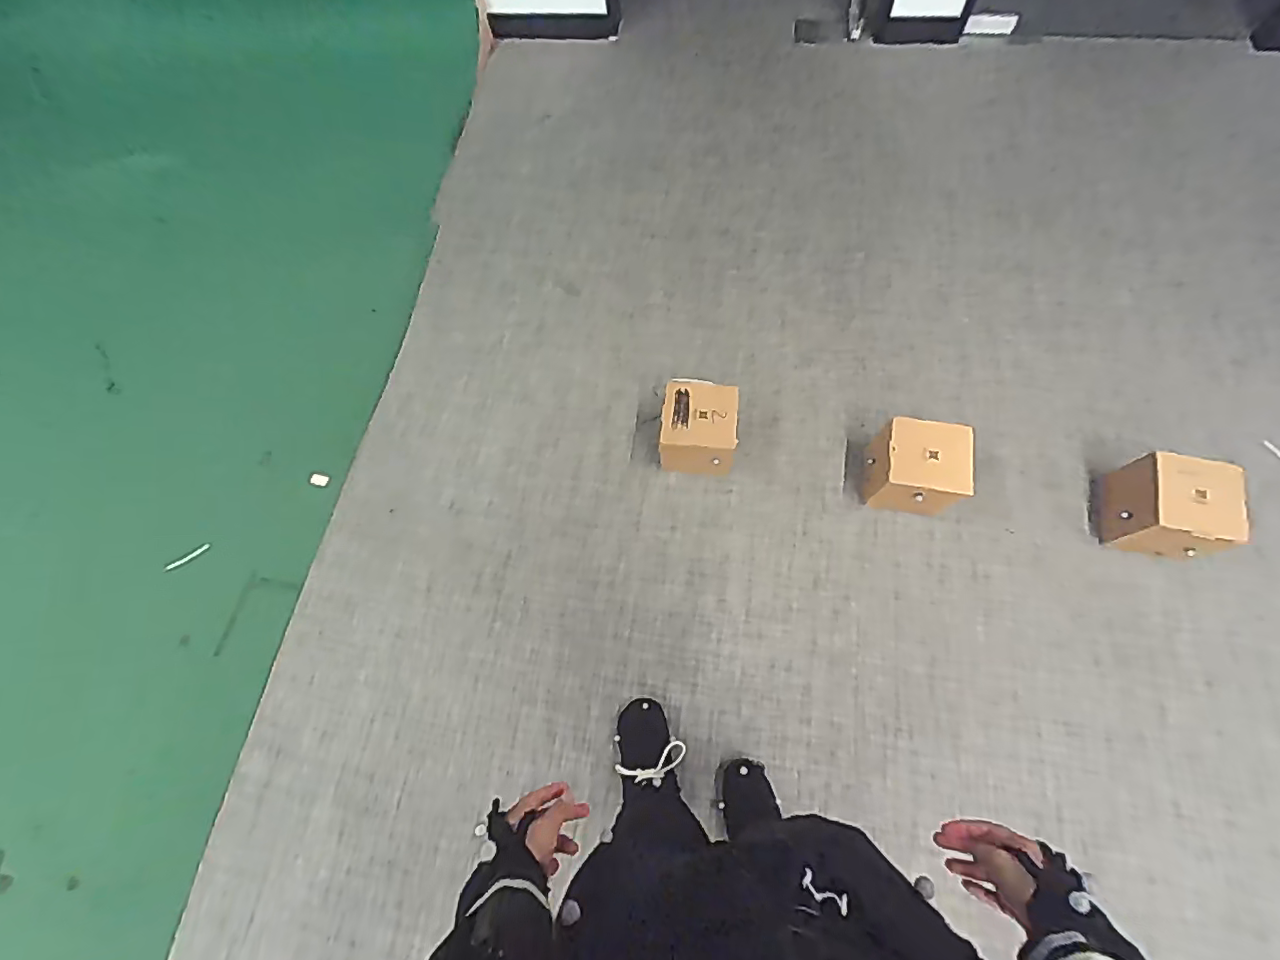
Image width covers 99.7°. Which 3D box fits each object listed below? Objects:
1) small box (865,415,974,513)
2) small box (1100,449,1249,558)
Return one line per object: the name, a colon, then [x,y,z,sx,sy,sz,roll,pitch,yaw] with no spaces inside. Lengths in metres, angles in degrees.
small box: [0.642,-0.031,1.253,0.179,0.176,0.168,9,71,8]
small box: [1.152,0.058,1.180,0.168,0.176,0.179,14,70,8]
